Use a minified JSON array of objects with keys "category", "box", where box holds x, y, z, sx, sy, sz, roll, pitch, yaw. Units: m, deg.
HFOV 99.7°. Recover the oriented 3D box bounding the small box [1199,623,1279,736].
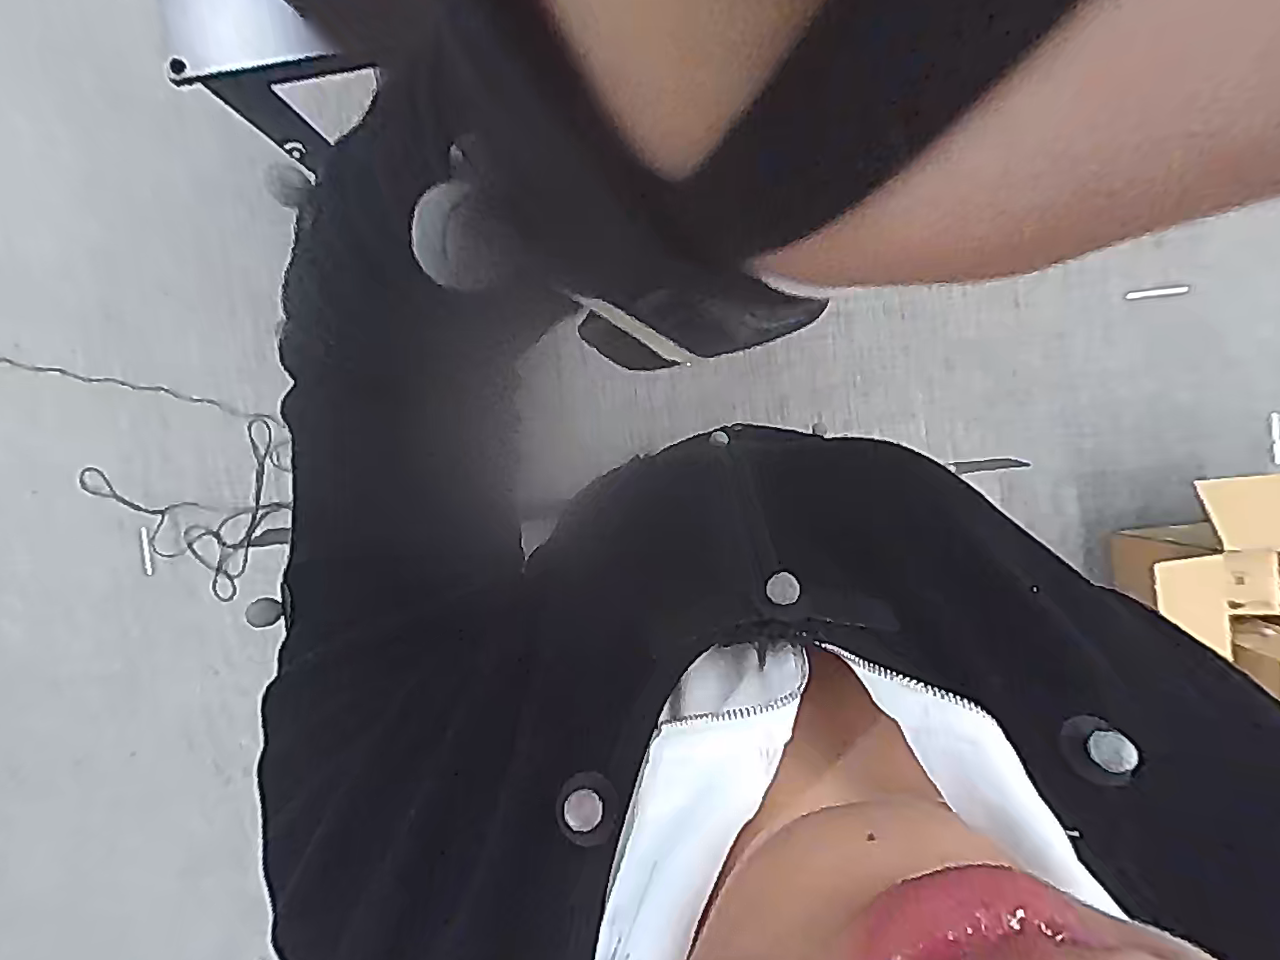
[{"category":"small box","box":[1.393,0.432,1.187,0.168,0.176,0.179,-4,96,2]}]
